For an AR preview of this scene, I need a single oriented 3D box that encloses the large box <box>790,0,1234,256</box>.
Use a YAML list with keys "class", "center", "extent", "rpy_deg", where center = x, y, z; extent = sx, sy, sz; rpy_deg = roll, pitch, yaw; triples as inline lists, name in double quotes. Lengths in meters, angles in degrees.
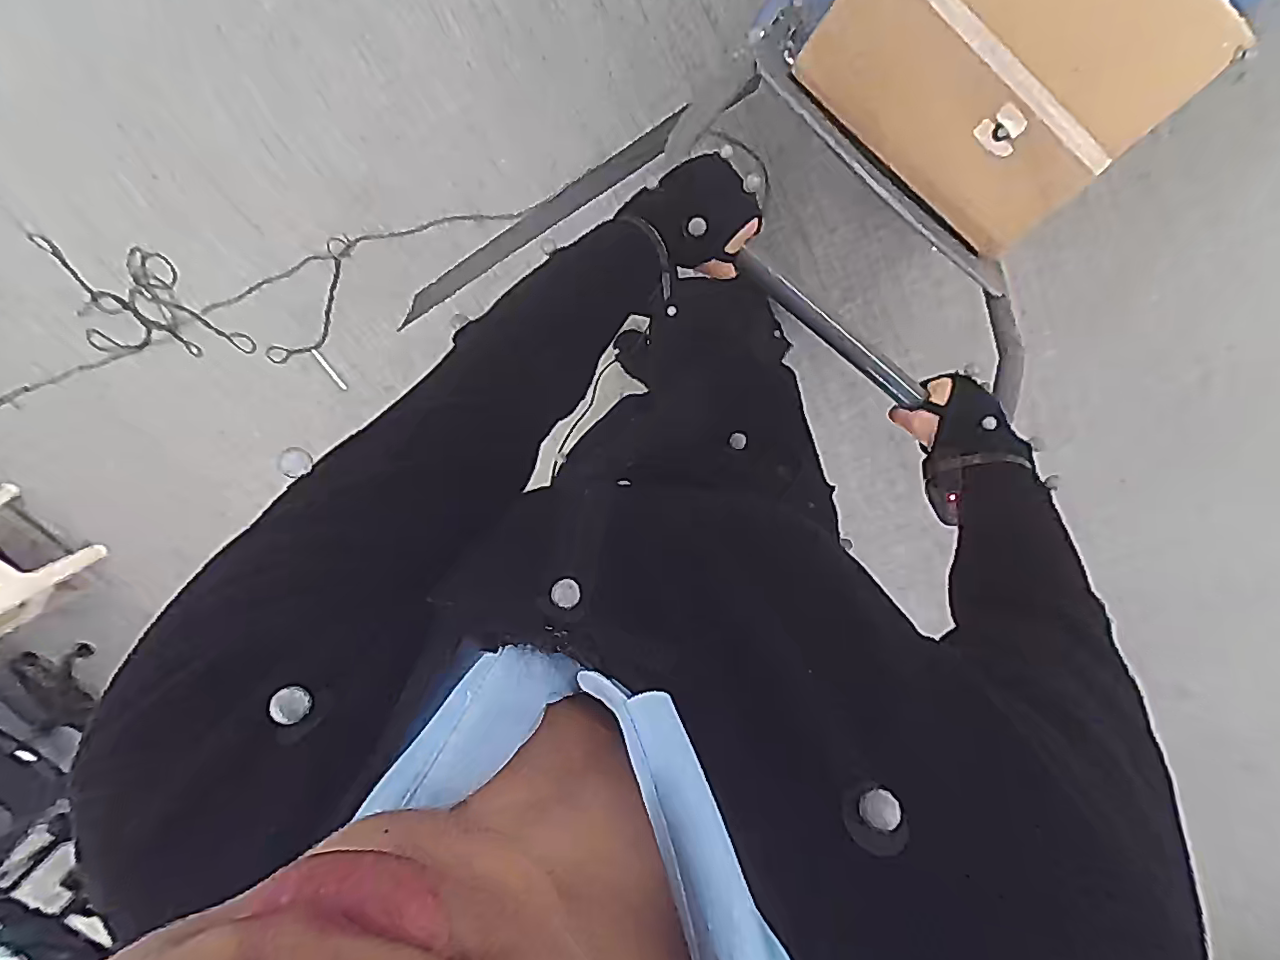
- class: "large box"
  center: [0.479, -0.621, 0.786]
  extent: [0.408, 0.320, 0.320]
  rpy_deg: [34, 135, -12]
